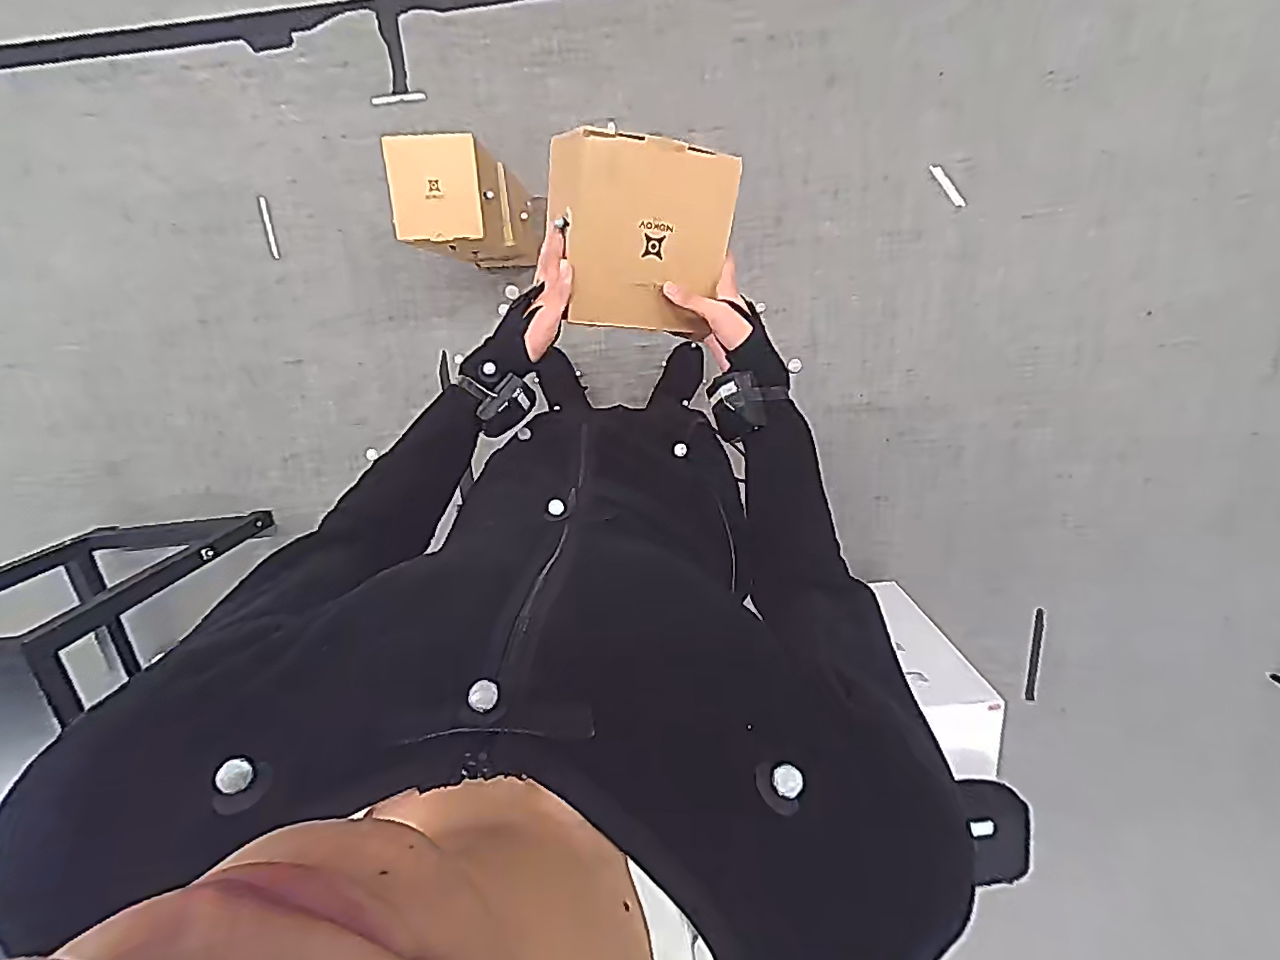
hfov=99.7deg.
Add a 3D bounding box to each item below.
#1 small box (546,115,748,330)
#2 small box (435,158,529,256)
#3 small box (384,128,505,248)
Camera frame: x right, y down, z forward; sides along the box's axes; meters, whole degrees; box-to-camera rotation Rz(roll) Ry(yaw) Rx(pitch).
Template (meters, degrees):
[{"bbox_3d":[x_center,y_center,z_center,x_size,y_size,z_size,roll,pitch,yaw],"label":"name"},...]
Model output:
[{"bbox_3d":[-0.007,-0.278,0.599,0.168,0.176,0.179,-1,118,-19],"label":"small box"},{"bbox_3d":[-0.359,-0.601,1.209,0.179,0.176,0.168,-5,107,1],"label":"small box"},{"bbox_3d":[-0.370,-0.558,1.052,0.168,0.176,0.179,-2,108,1],"label":"small box"}]
